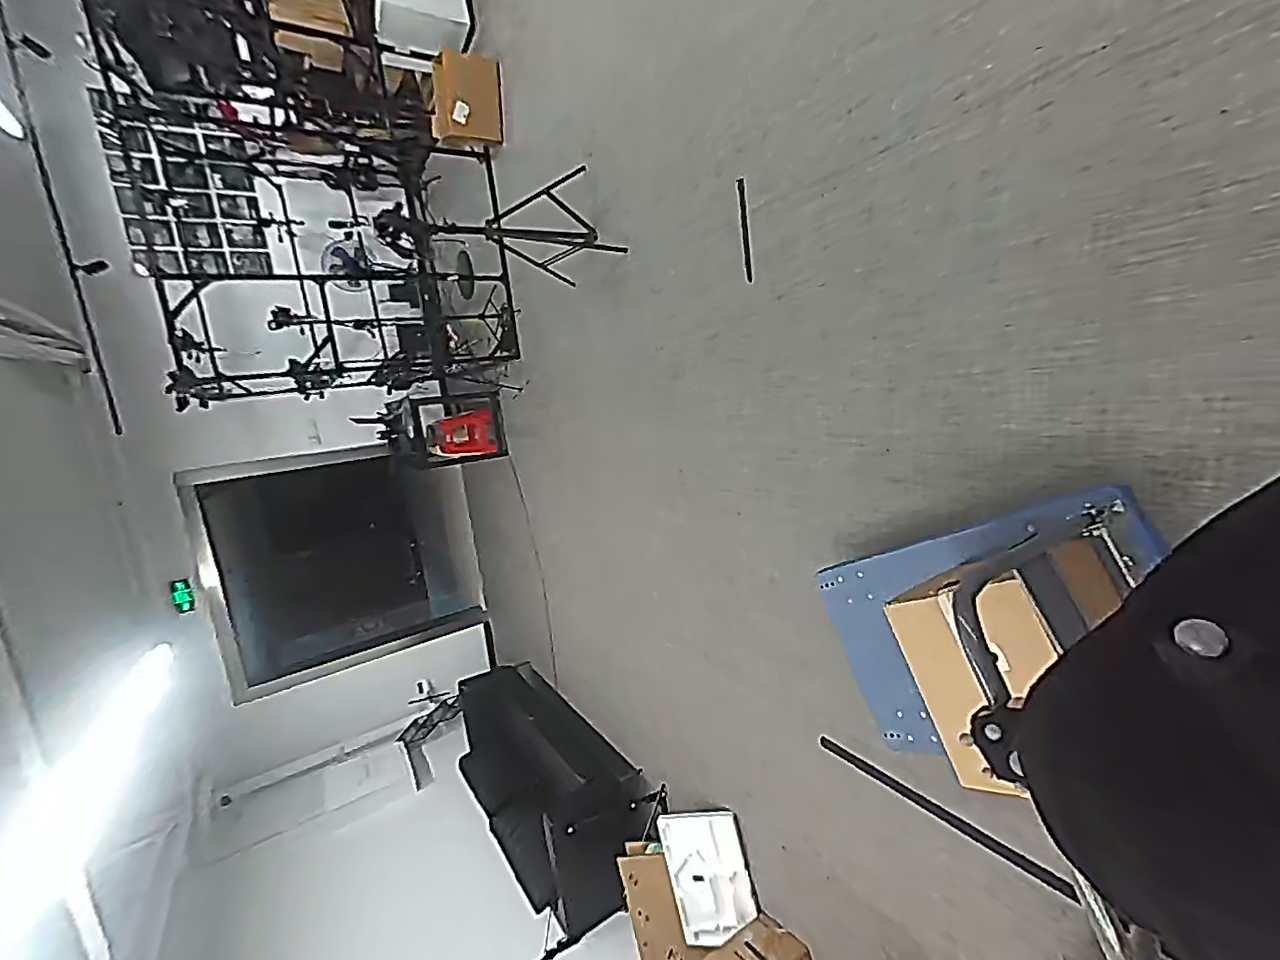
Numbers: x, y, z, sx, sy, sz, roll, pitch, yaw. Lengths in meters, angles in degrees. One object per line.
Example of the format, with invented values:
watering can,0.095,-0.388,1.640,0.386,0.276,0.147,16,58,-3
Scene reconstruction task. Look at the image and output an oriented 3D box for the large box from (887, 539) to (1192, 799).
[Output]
large box,0.821,0.381,1.142,0.320,0.320,0.408,-39,67,56
